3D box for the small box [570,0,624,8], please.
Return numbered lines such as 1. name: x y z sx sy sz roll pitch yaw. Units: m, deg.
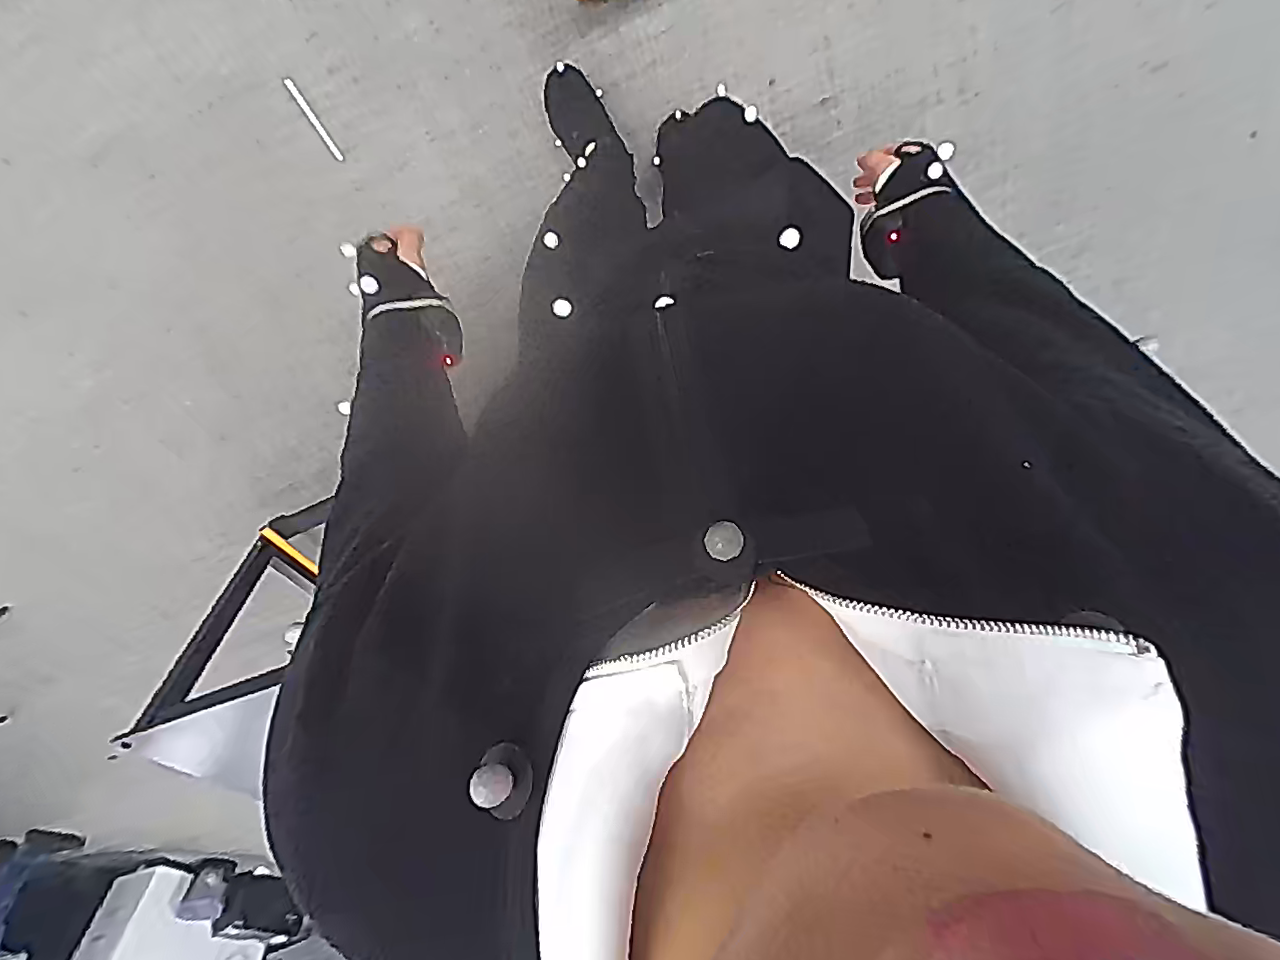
1. small box: -0.050 -0.923 0.913 0.179 0.176 0.168 -11 129 3
